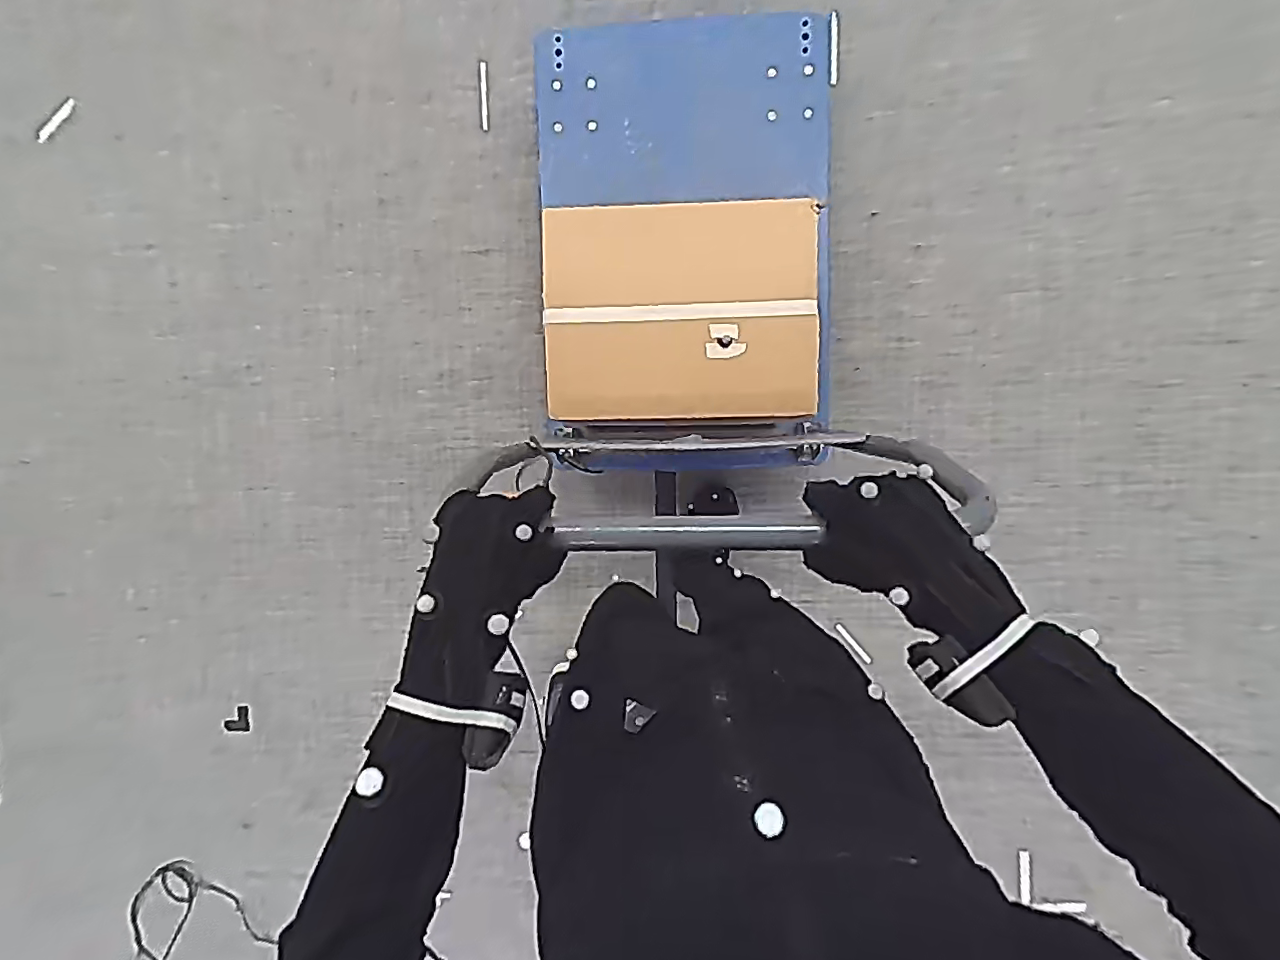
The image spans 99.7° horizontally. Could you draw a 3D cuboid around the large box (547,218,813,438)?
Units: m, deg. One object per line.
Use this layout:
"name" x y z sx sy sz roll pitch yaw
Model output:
"large box" 0.065 -0.241 0.971 0.408 0.320 0.320 -1 94 2
